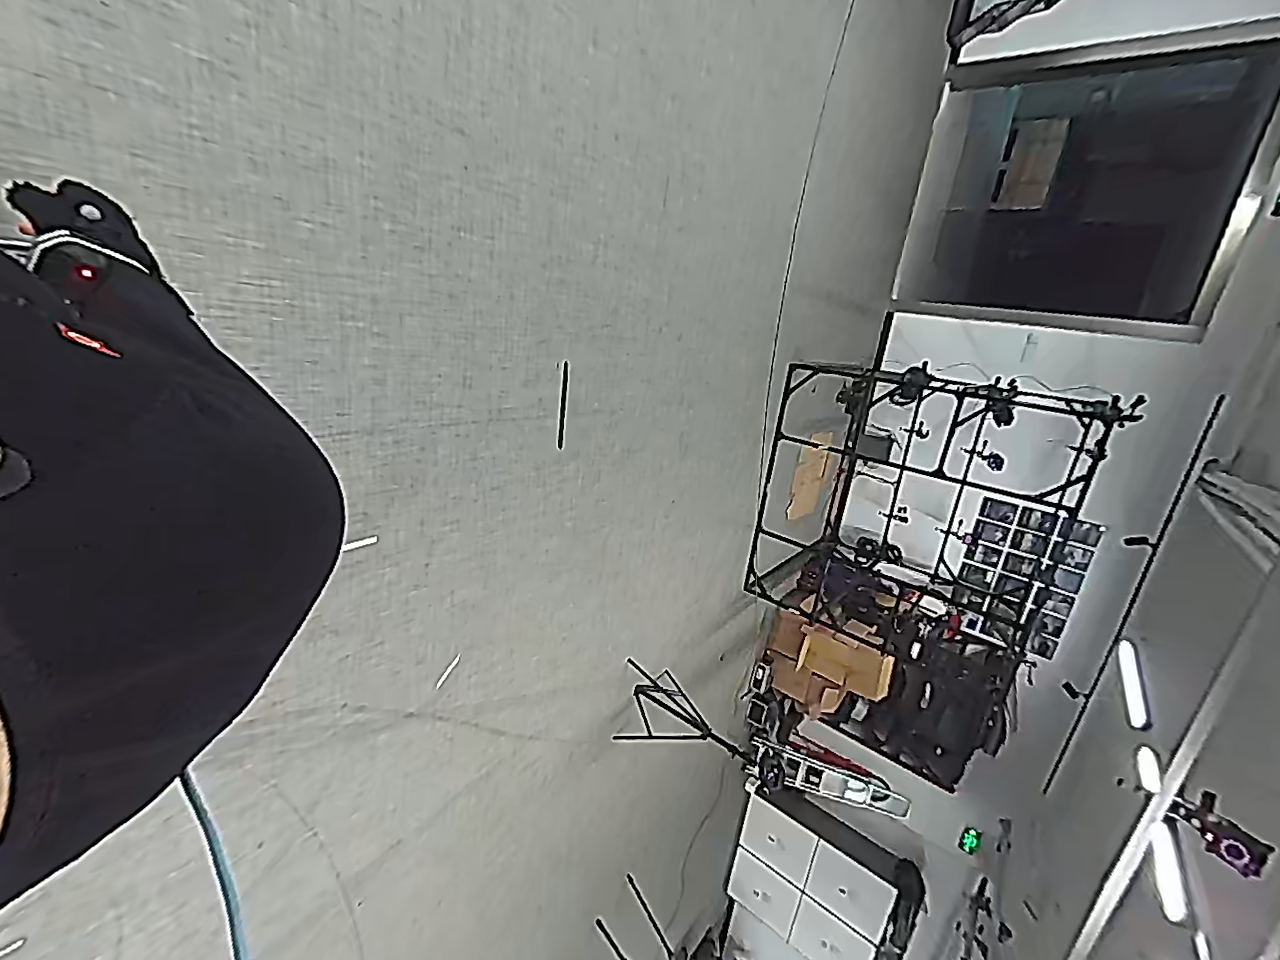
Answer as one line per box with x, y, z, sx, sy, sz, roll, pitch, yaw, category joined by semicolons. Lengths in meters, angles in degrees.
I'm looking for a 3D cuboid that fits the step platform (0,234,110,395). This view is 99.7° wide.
-1.330;-0.282;0.868;0.684;0.204;0.286;-17;120;-52;step platform
